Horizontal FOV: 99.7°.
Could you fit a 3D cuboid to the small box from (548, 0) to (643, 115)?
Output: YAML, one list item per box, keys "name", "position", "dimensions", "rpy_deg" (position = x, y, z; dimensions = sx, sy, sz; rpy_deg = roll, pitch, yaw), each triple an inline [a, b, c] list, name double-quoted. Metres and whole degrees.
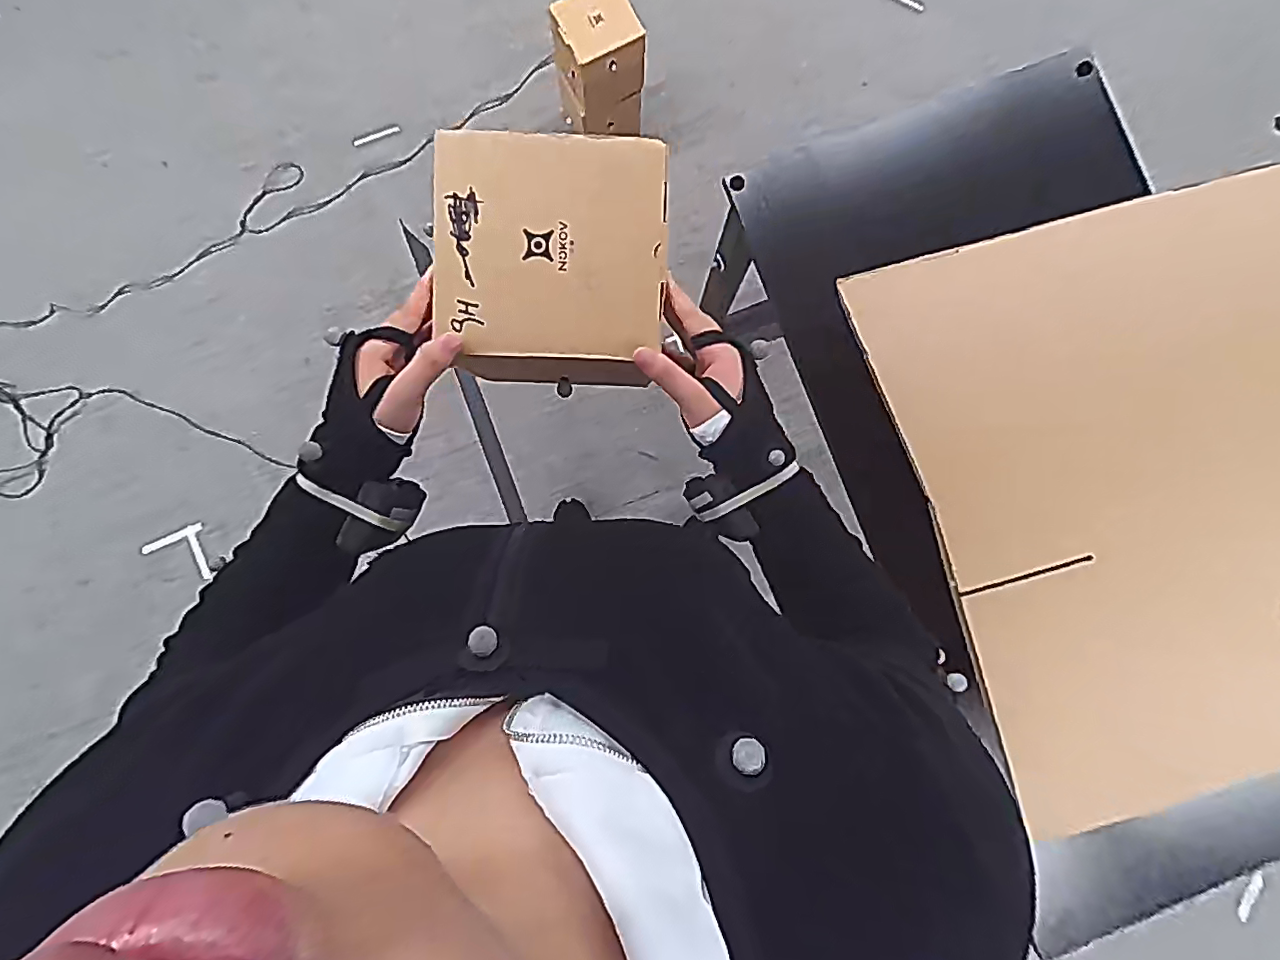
- name: "small box"
  position: [-0.105, -1.061, 1.342]
  dimensions: [0.179, 0.176, 0.168]
  rpy_deg: [-28, 88, -3]

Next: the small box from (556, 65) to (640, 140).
- name: "small box"
  position: [-0.113, -1.047, 1.505]
  dimensions: [0.179, 0.176, 0.168]
  rpy_deg: [-25, 87, -2]

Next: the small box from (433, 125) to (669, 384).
- name: "small box"
  position: [-0.073, -0.183, 0.491]
  dimensions: [0.179, 0.176, 0.168]
  rpy_deg: [2, 92, -3]
